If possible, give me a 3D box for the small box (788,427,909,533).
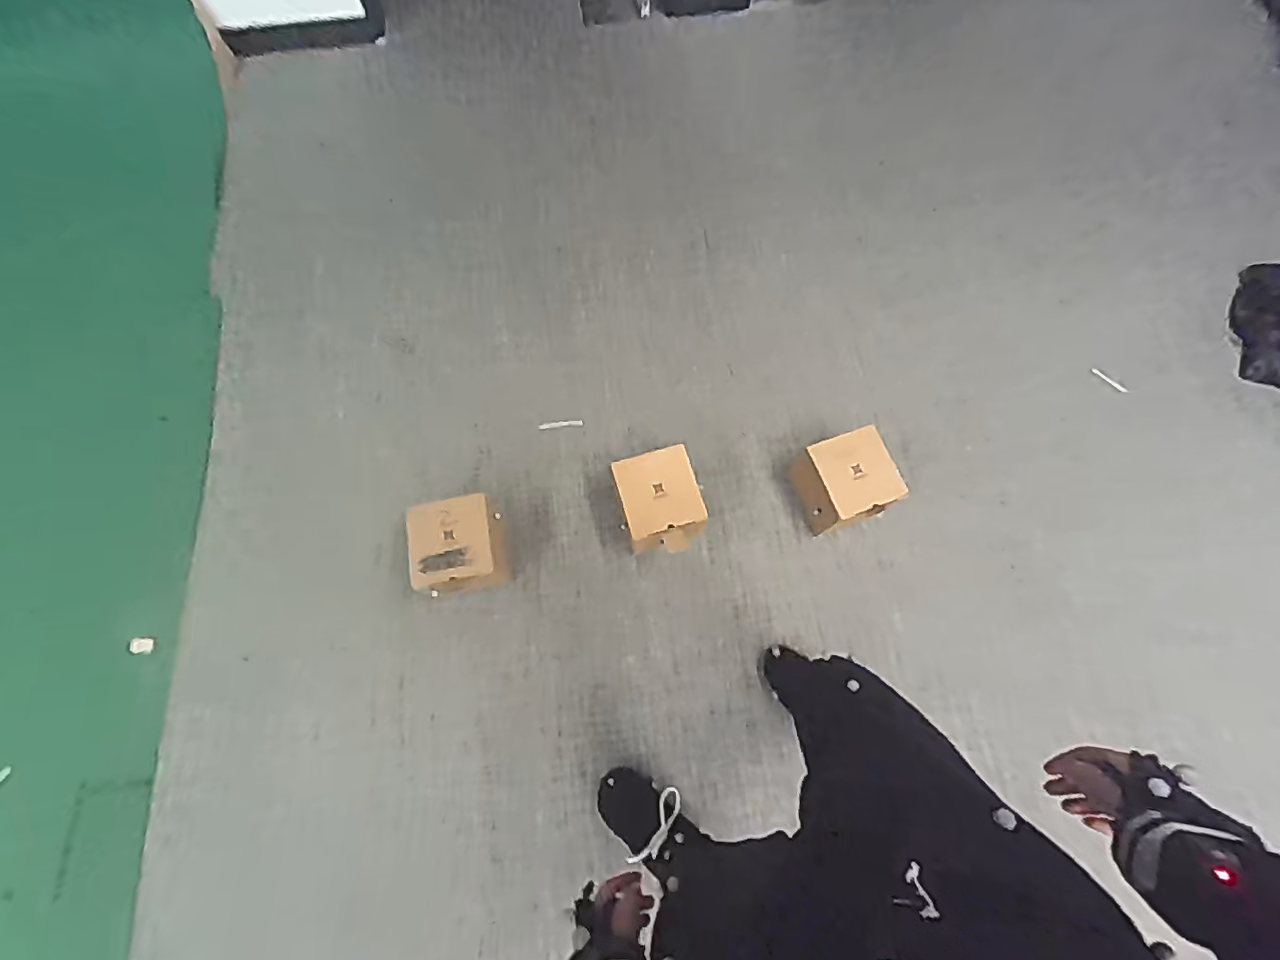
[{"bbox_3d":[0.460,0.010,1.222,0.168,0.176,0.179,-18,72,-7],"label":"small box"}]

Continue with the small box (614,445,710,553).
[{"bbox_3d":[0.042,0.047,1.206,0.168,0.176,0.179,-16,73,-5],"label":"small box"}]
